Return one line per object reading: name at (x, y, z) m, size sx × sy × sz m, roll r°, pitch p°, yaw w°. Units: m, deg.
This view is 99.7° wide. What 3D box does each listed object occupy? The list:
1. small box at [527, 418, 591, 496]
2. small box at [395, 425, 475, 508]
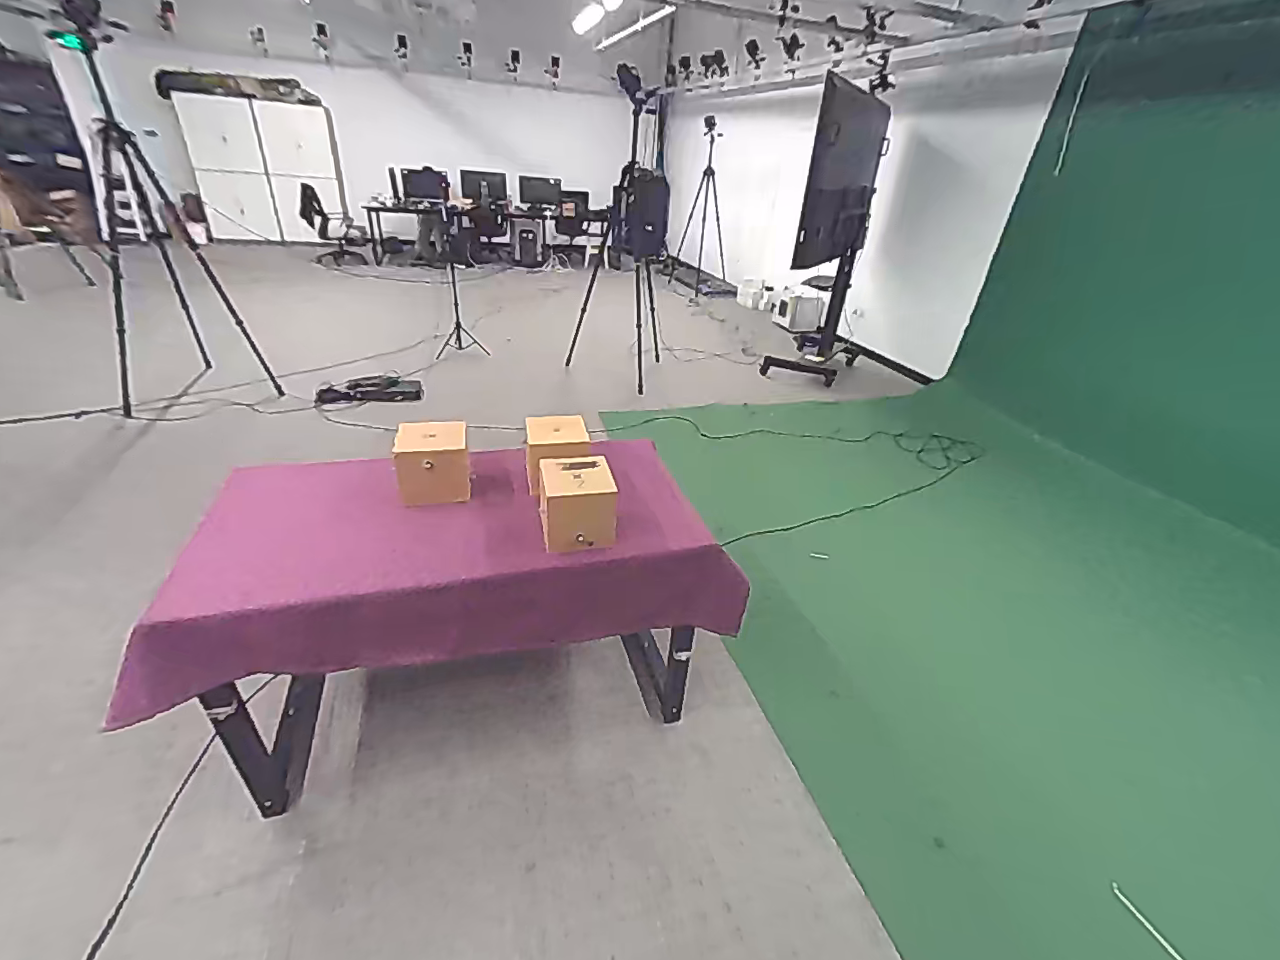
small box at (-0.232, -0.064, 1.552) m, size 0.168 × 0.176 × 0.179 m, roll -4°, pitch 31°, yaw -13°
small box at (-0.547, -0.035, 1.466) m, size 0.179 × 0.176 × 0.168 m, roll -4°, pitch 32°, yaw -14°
